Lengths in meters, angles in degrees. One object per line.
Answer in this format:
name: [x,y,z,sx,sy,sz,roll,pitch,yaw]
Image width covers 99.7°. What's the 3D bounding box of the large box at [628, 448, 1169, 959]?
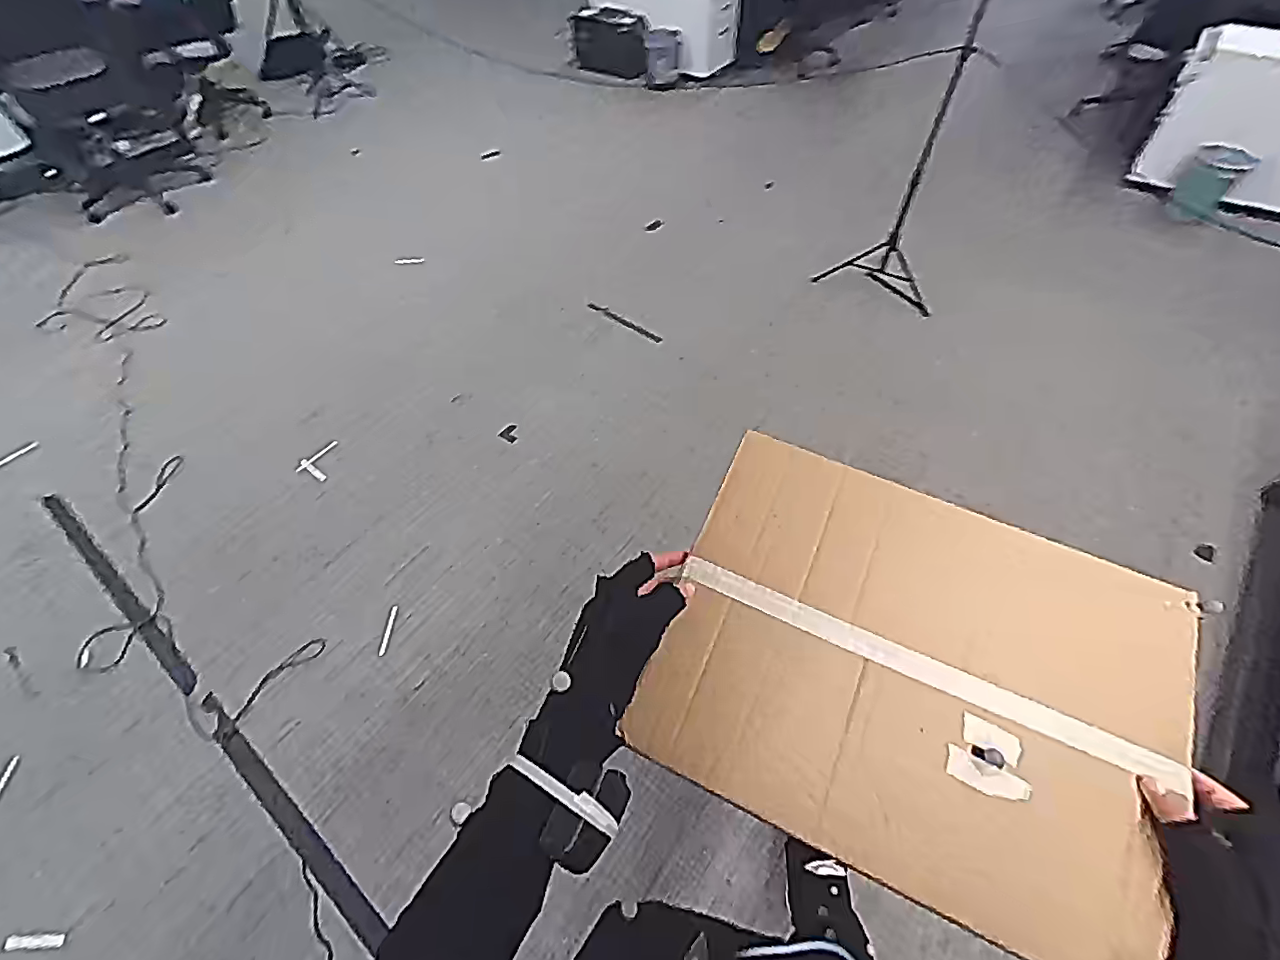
large box: [0.233,0.221,0.601,0.408,0.320,0.320,22,69,12]
